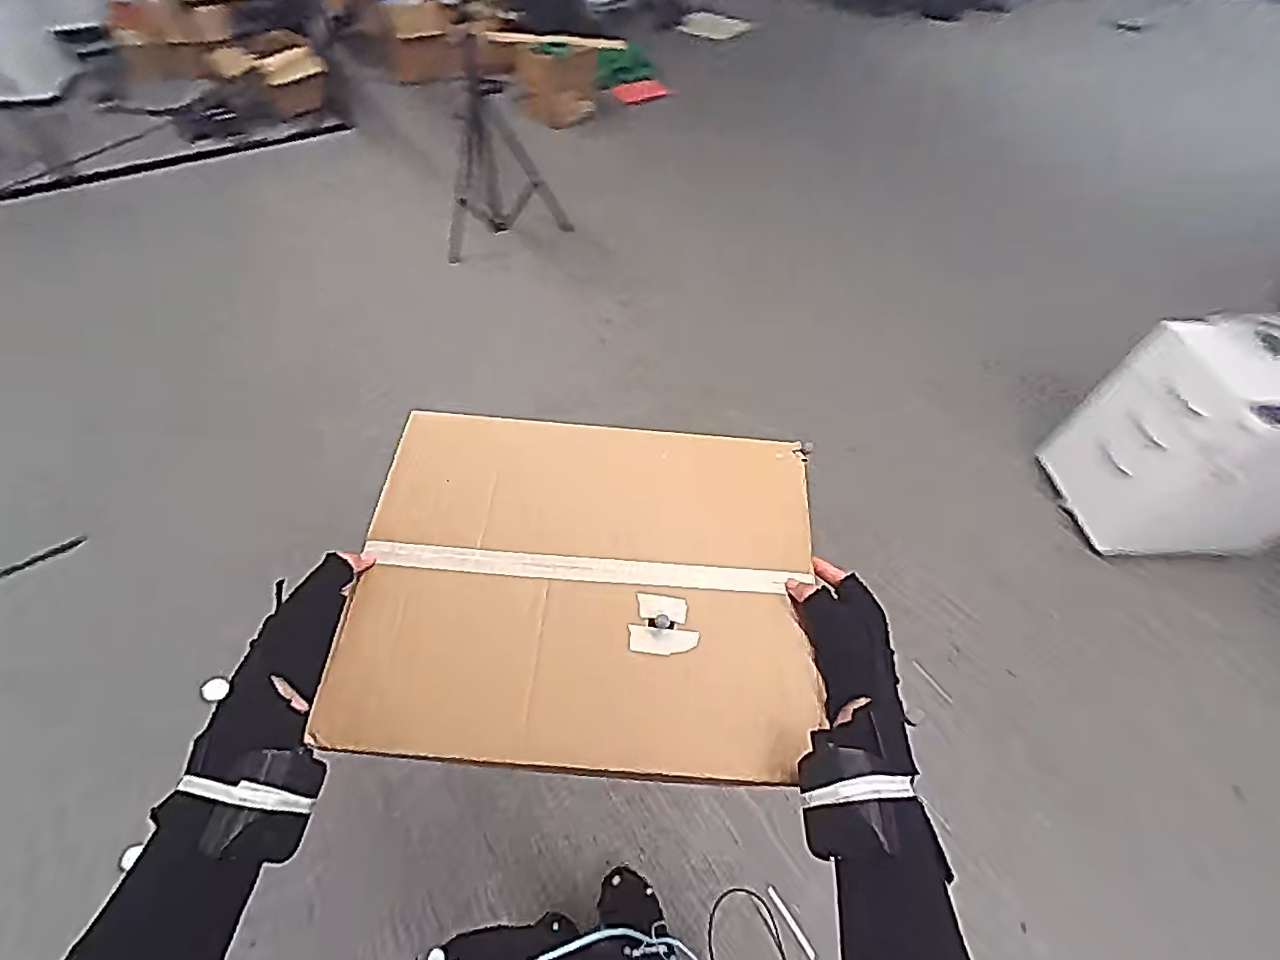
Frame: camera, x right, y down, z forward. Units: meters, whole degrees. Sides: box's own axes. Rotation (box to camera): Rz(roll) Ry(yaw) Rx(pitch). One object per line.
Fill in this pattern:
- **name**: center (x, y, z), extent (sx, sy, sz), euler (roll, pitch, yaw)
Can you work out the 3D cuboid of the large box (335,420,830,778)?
- **large box**: center (-0.045, 0.157, 0.629), extent (0.408, 0.320, 0.320), euler (6, 62, -1)
